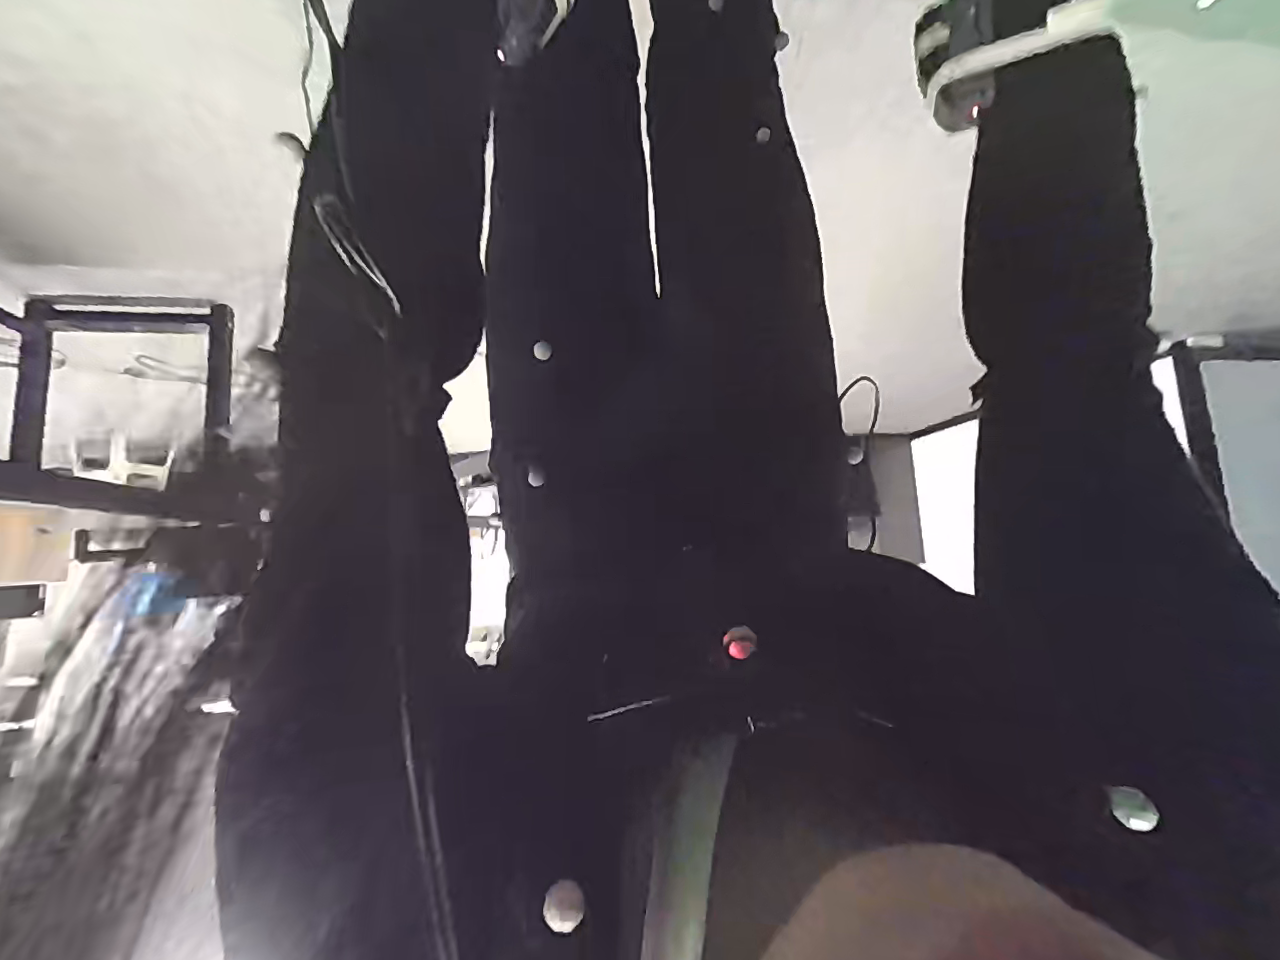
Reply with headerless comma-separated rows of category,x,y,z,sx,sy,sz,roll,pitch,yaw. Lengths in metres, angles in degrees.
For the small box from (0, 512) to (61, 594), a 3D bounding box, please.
small box,-1.432,0.162,1.176,0.179,0.176,0.168,-1,171,-10
